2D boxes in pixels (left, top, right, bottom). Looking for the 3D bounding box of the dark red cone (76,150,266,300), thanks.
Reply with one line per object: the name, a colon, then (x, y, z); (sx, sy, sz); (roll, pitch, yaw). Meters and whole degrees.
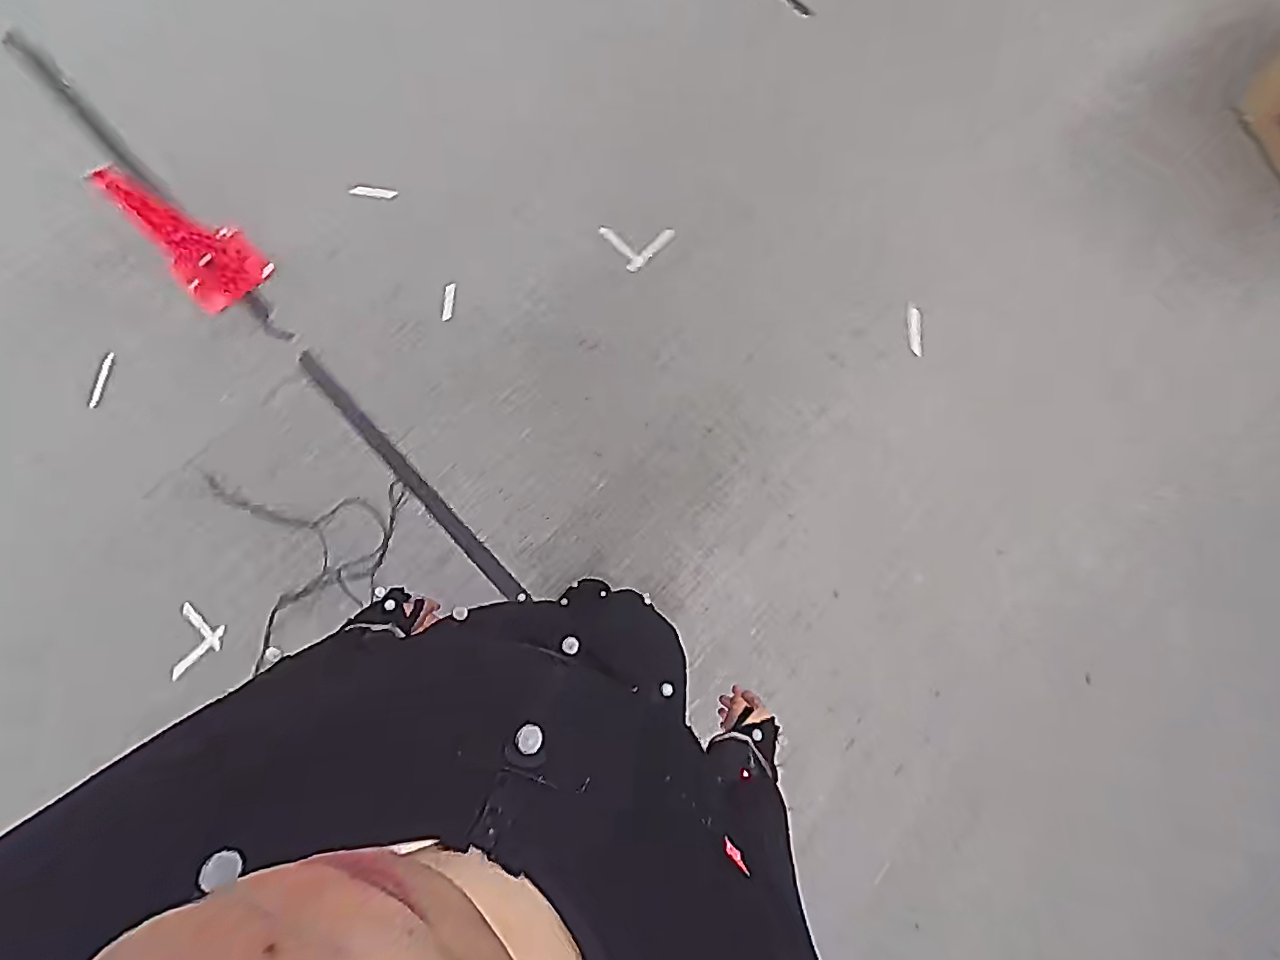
dark red cone: (-1.107, -0.615, 1.260); (0.201, 0.394, 0.202); (-44, 86, -7)
